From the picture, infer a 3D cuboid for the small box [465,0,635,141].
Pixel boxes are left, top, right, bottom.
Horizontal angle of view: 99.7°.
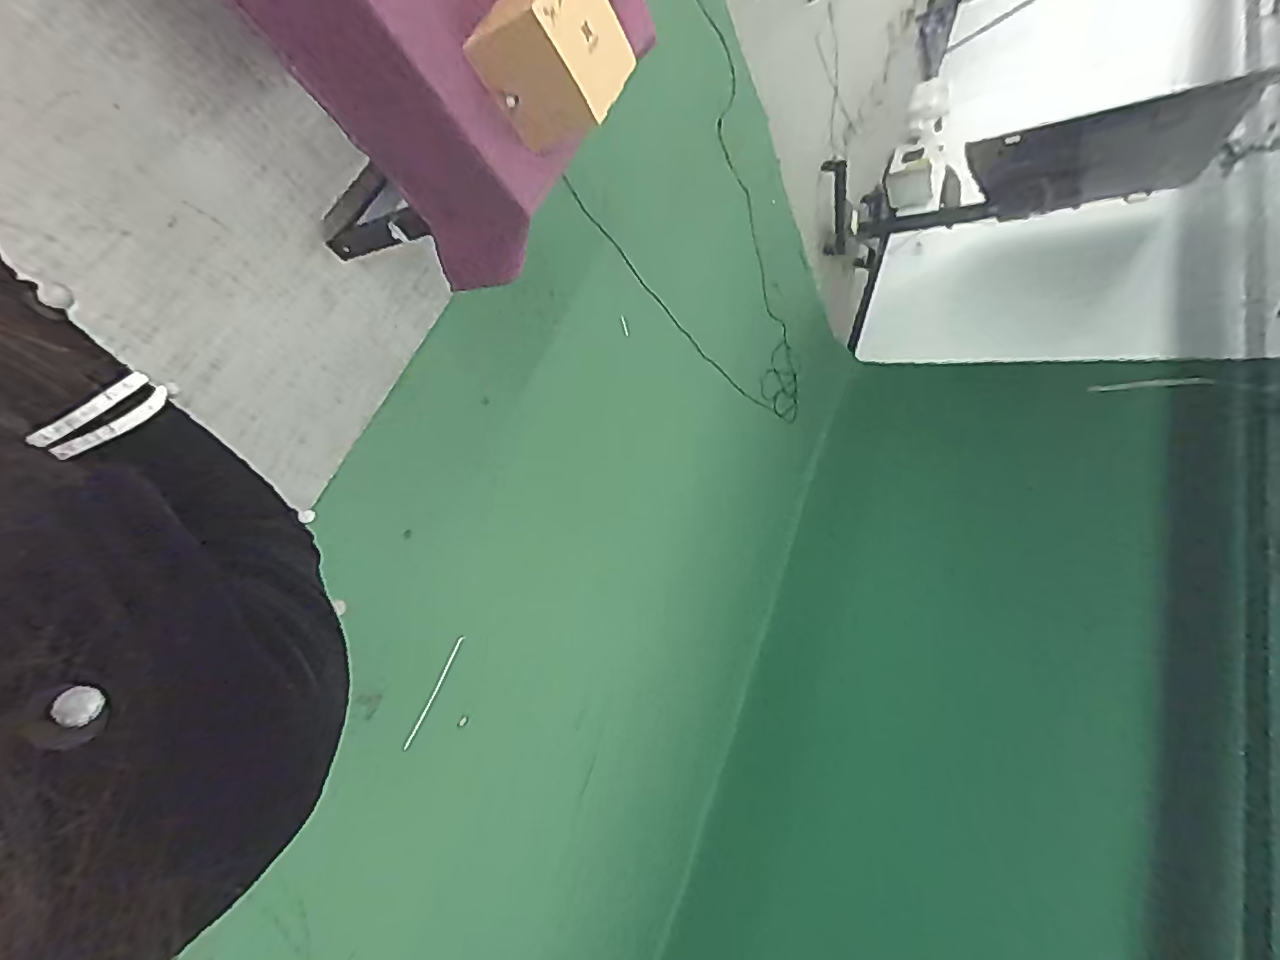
[{"bbox_3d":[-0.142,-0.687,0.878,0.179,0.176,0.168,45,61,-47],"label":"small box"}]
